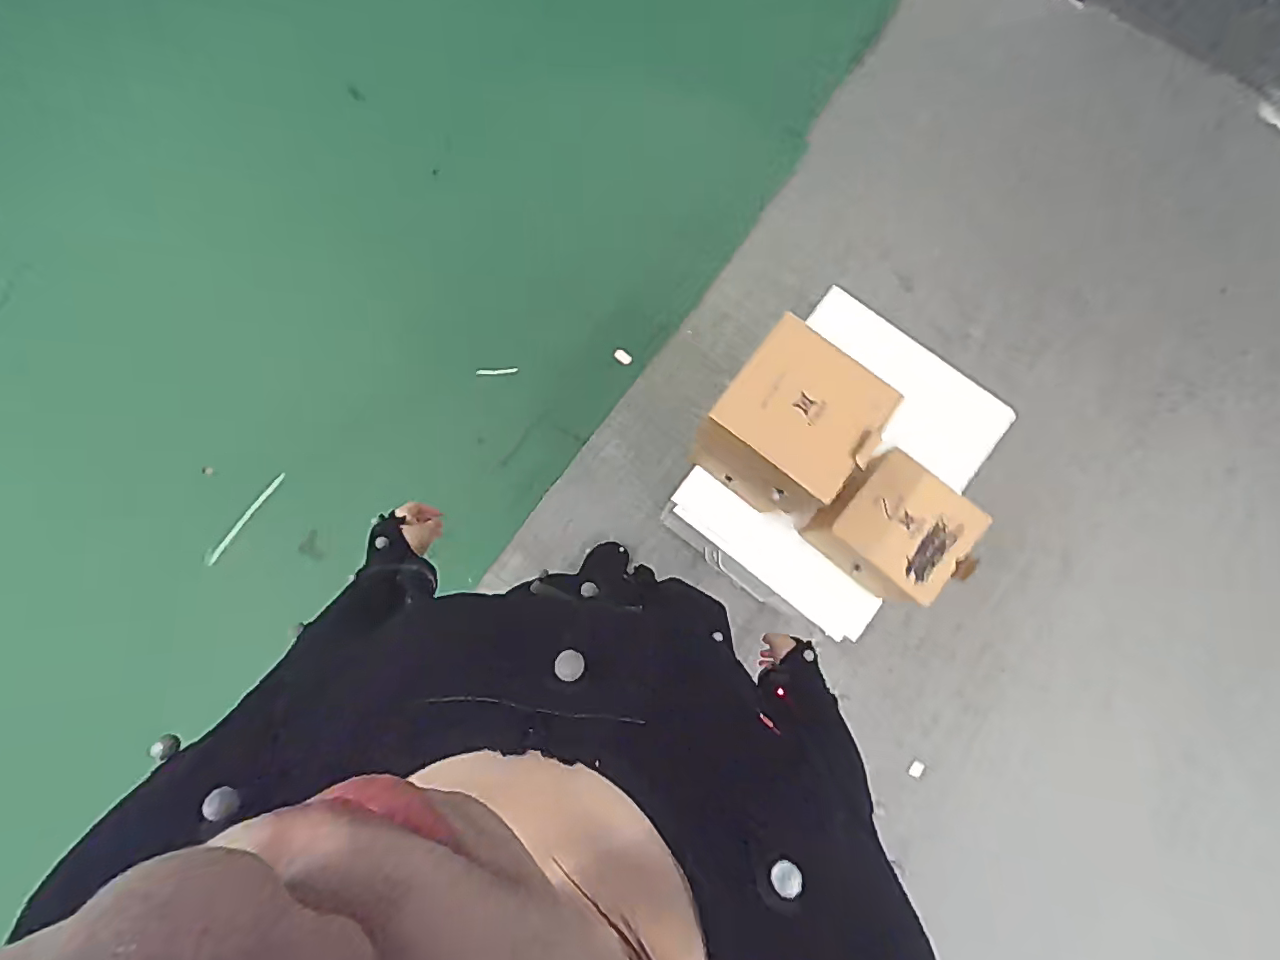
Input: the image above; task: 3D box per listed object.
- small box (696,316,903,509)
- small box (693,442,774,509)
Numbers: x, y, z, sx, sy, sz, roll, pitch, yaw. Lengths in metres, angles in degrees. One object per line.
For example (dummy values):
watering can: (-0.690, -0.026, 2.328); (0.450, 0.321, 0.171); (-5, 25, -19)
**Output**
small box: (0.195, -0.075, 0.715); (0.179, 0.176, 0.168); (38, 83, 4)
small box: (0.201, -0.066, 0.877); (0.168, 0.176, 0.179); (39, 84, 3)
